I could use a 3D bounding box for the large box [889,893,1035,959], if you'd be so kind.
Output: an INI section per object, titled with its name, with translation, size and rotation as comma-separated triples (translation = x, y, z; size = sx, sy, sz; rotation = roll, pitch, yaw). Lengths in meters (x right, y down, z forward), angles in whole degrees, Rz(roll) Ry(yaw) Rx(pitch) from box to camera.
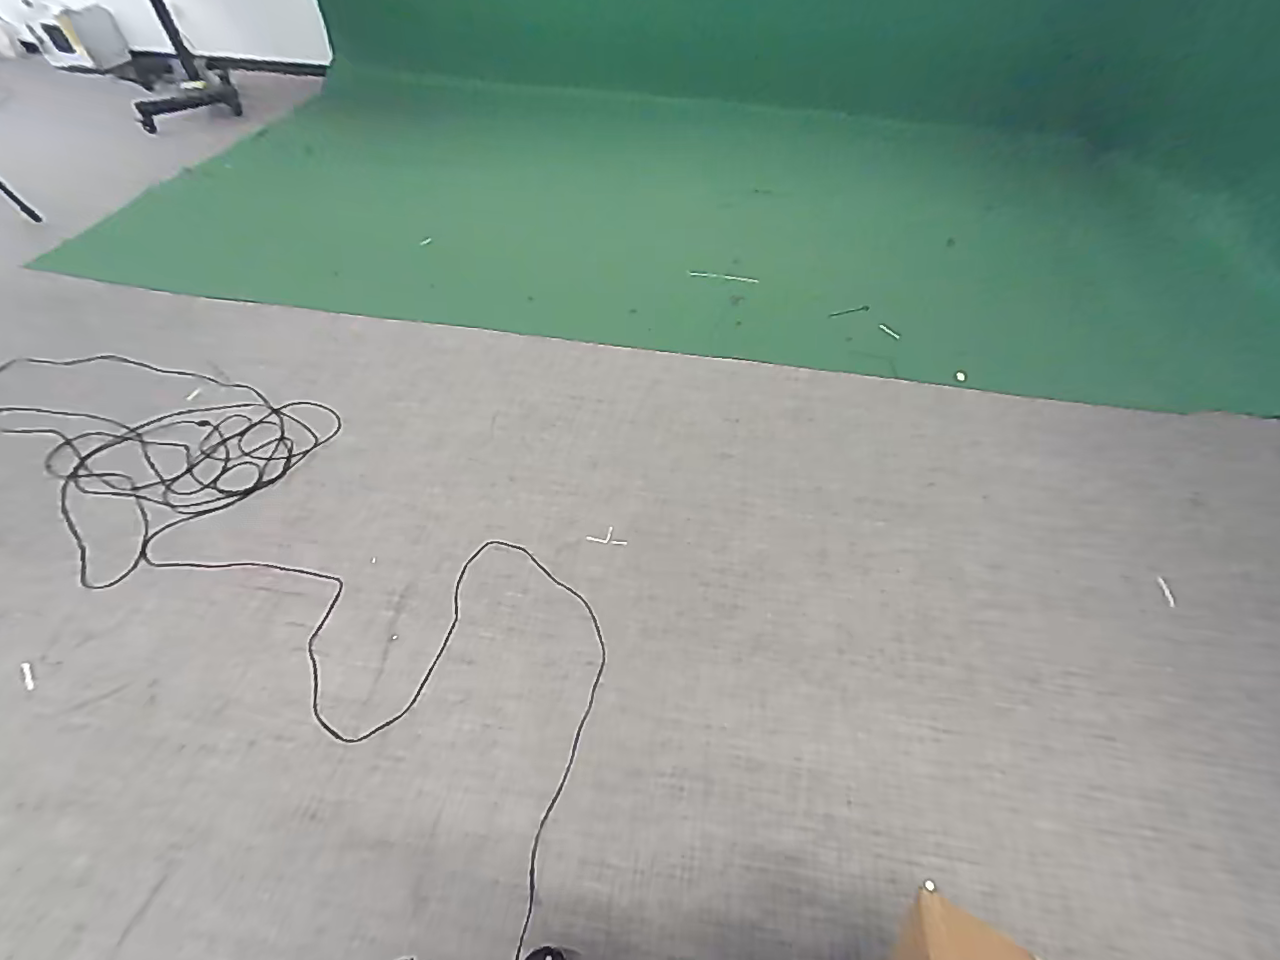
[large box]
translation = 0.410, 0.779, 0.563
size = 0.320, 0.408, 0.320
rotation = 24, 93, 23
